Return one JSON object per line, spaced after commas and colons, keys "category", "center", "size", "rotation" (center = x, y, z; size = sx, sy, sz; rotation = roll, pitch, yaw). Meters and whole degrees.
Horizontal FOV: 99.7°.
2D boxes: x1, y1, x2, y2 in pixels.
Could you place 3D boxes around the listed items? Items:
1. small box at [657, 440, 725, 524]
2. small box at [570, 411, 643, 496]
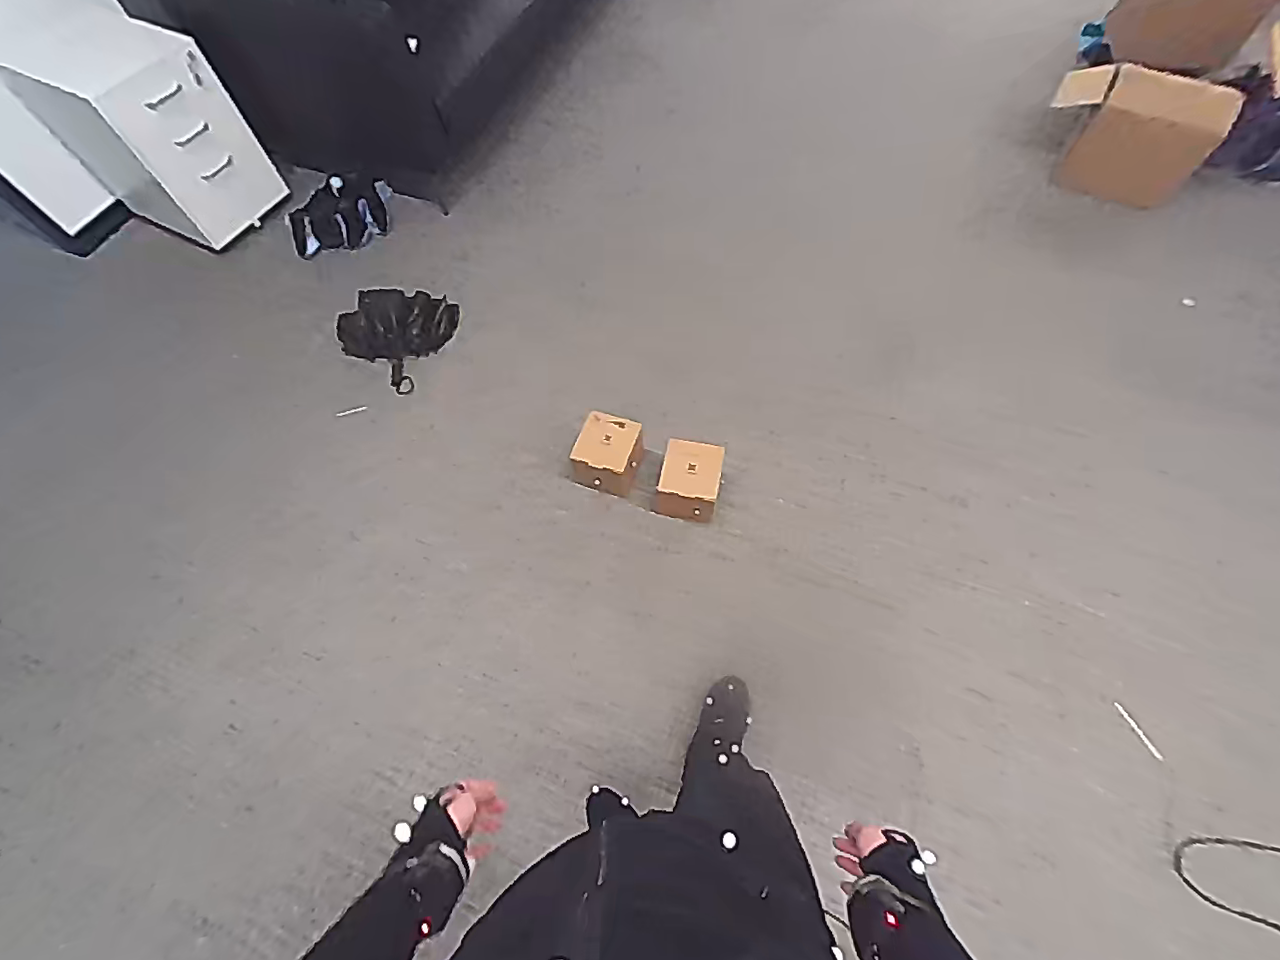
{"category": "small box", "center": [0.146, 0.010, 1.578], "size": [0.168, 0.176, 0.179], "rotation": [11, 62, 6]}
{"category": "small box", "center": [-0.092, -0.073, 1.626], "size": [0.168, 0.176, 0.179], "rotation": [17, 65, 11]}
